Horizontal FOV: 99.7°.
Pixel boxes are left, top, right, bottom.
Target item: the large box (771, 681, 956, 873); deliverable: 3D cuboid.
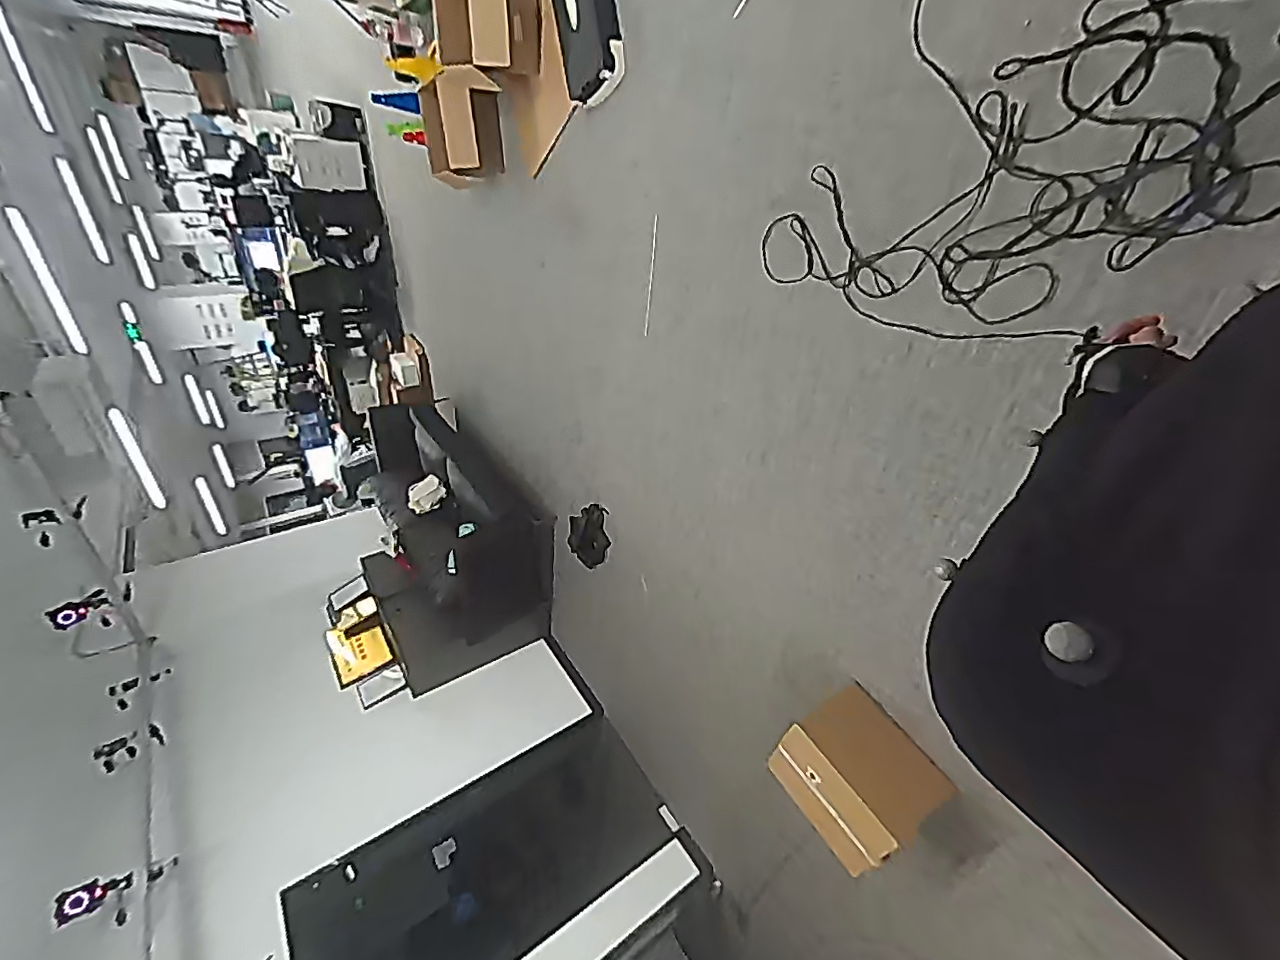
[{"bbox_3d":[0.716,0.958,1.775,0.408,0.320,0.320,48,141,36],"label":"large box"}]
